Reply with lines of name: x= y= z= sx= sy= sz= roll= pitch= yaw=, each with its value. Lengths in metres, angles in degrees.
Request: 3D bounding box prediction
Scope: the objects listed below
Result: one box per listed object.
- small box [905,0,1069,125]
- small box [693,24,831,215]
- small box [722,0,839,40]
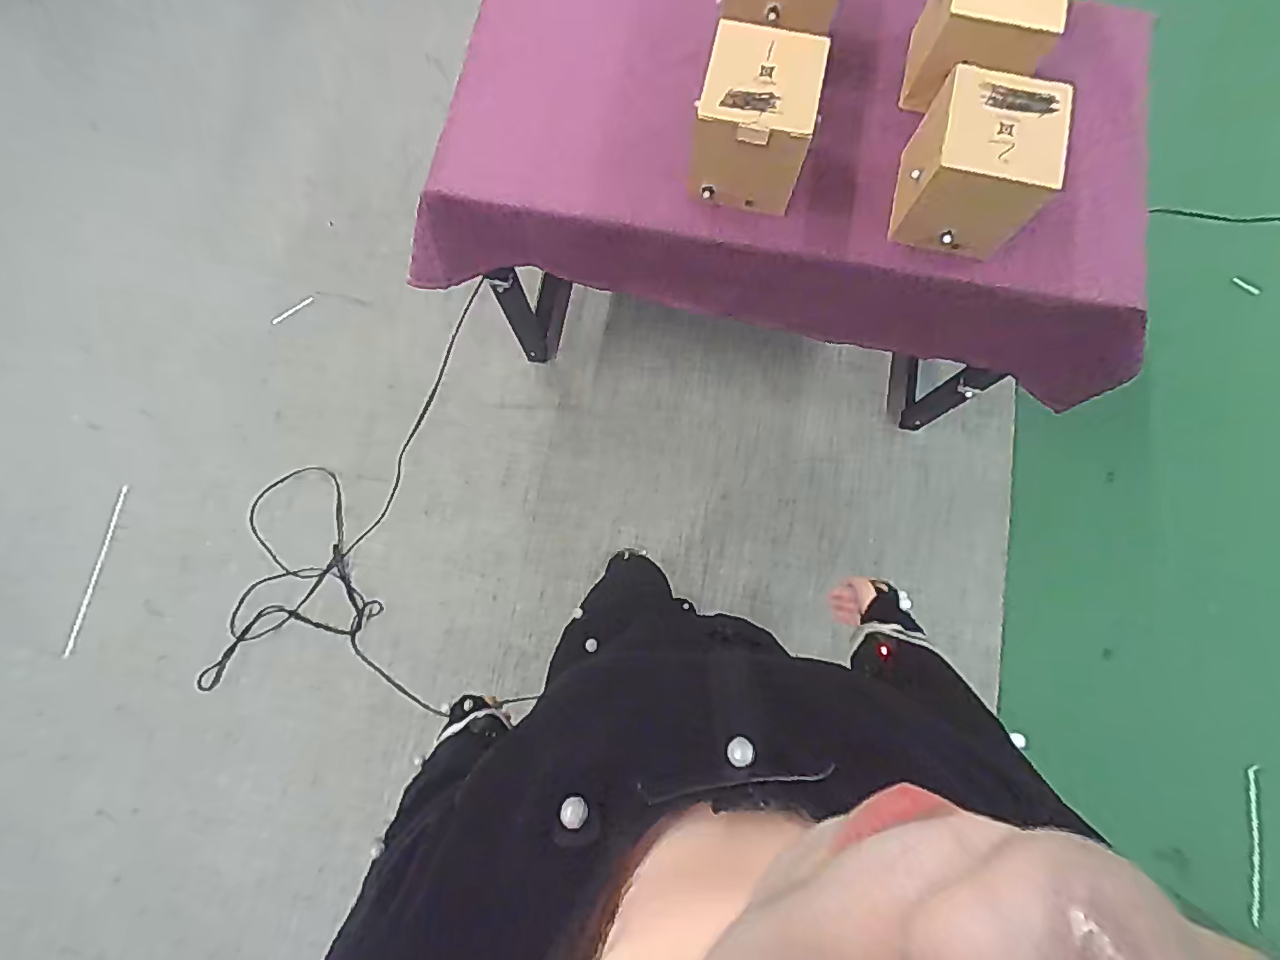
small box: x=0.554 y=-0.722 z=0.877 sx=0.168 sy=0.176 sz=0.179 roll=14 pitch=78 yaw=4
small box: x=0.180 y=-0.551 z=0.847 sx=0.168 sy=0.176 sz=0.179 roll=13 pitch=78 yaw=3
small box: x=0.234 y=-0.790 z=0.897 sx=0.179 sy=0.176 sz=0.168 roll=14 pitch=80 yaw=3
